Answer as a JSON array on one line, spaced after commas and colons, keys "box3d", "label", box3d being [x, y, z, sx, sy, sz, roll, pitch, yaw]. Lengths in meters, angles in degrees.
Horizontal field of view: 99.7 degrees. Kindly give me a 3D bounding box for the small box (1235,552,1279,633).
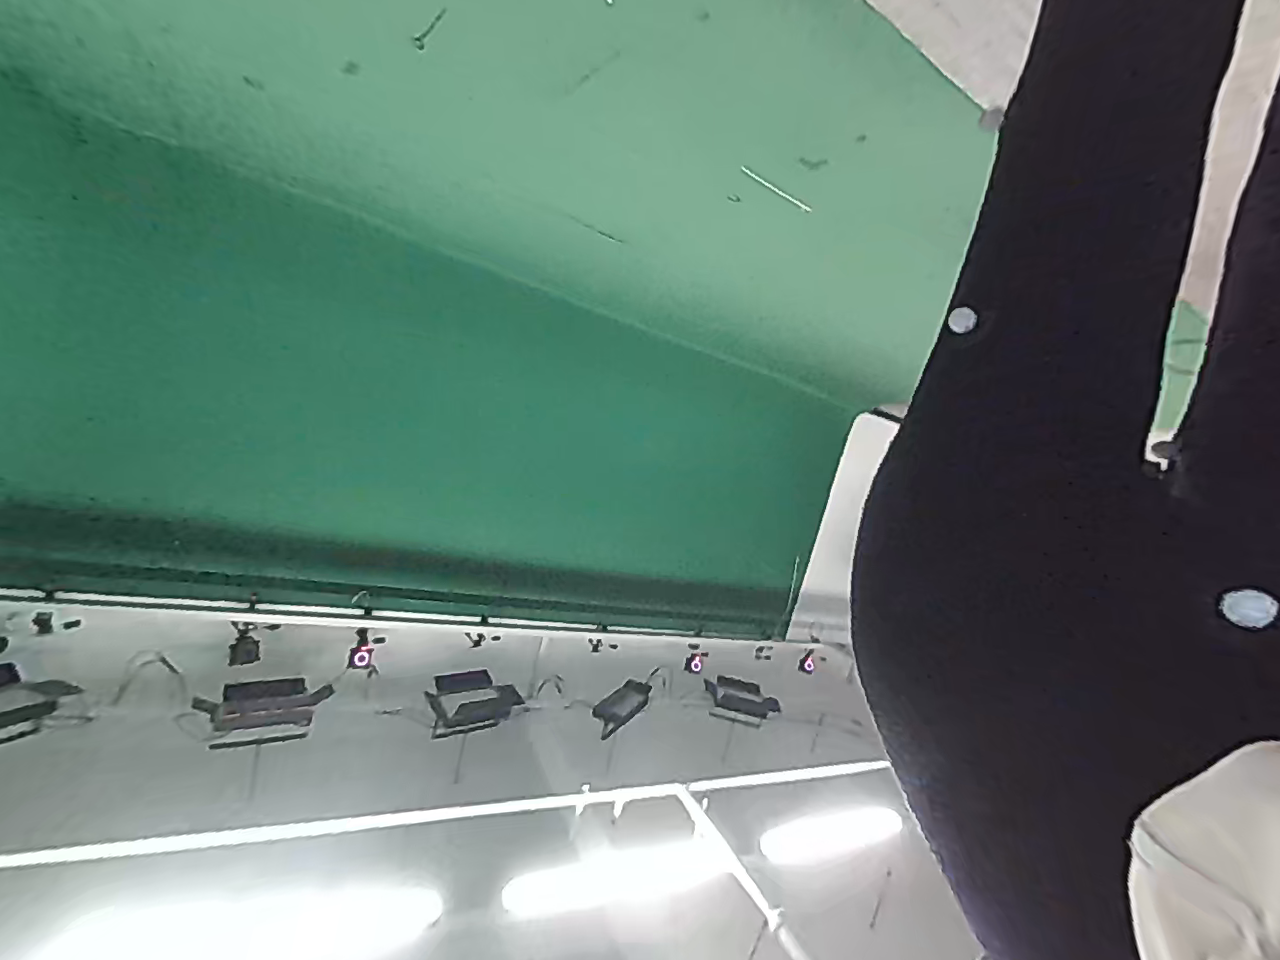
[{"box3d": [1.499, 0.268, 1.213, 0.168, 0.176, 0.179, 11, -174, -34], "label": "small box"}]
